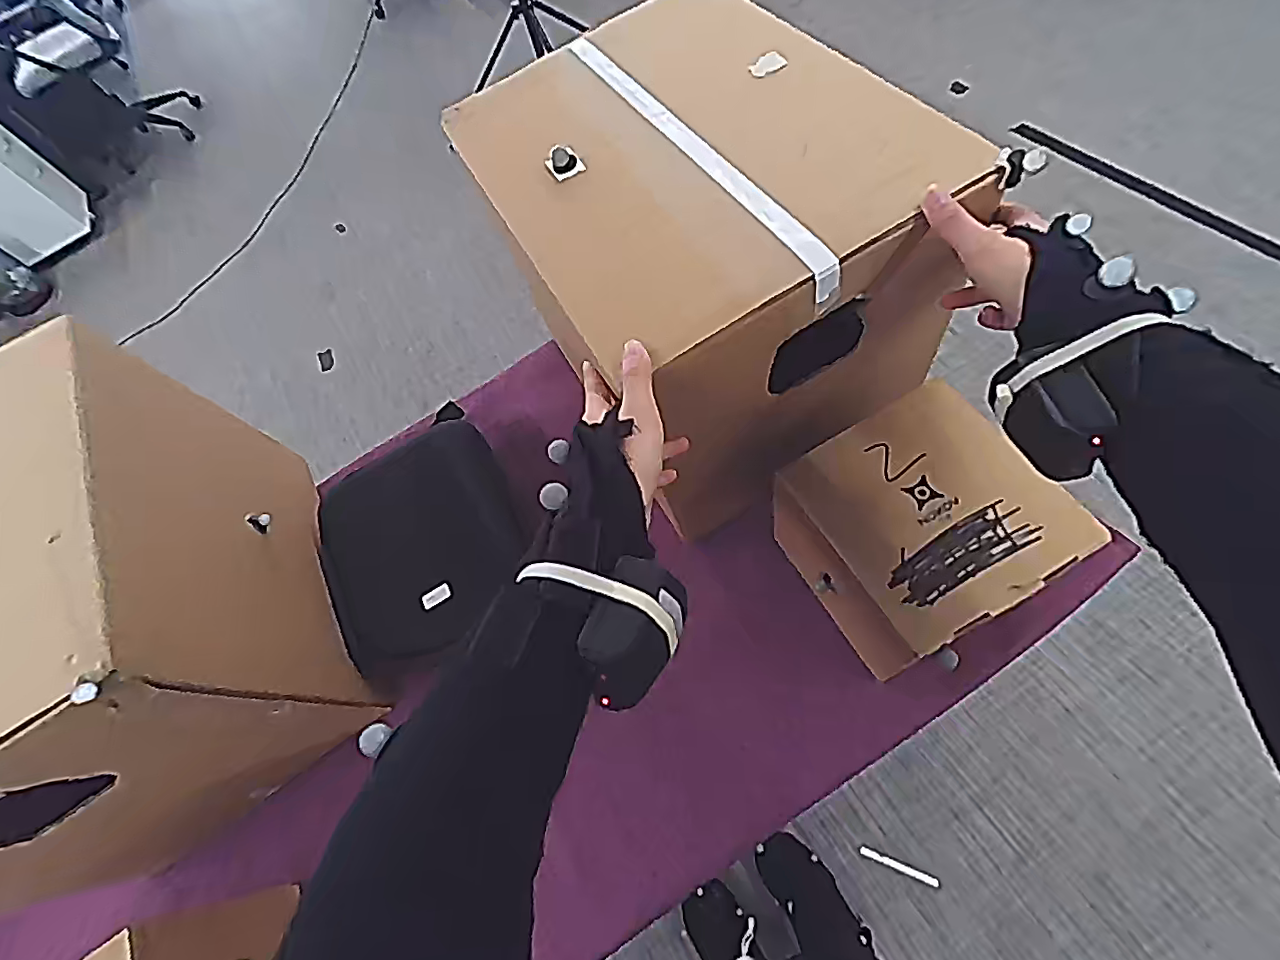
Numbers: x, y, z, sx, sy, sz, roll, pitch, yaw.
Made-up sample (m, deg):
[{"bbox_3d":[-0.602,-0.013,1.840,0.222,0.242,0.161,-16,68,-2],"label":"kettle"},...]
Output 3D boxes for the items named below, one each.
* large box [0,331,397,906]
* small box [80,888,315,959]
[{"bbox_3d":[-0.532,0.136,0.559,0.320,0.320,0.408,-36,64,-5],"label":"large box"},{"bbox_3d":[-0.394,0.479,0.435,0.179,0.176,0.168,-36,61,-7],"label":"small box"}]
